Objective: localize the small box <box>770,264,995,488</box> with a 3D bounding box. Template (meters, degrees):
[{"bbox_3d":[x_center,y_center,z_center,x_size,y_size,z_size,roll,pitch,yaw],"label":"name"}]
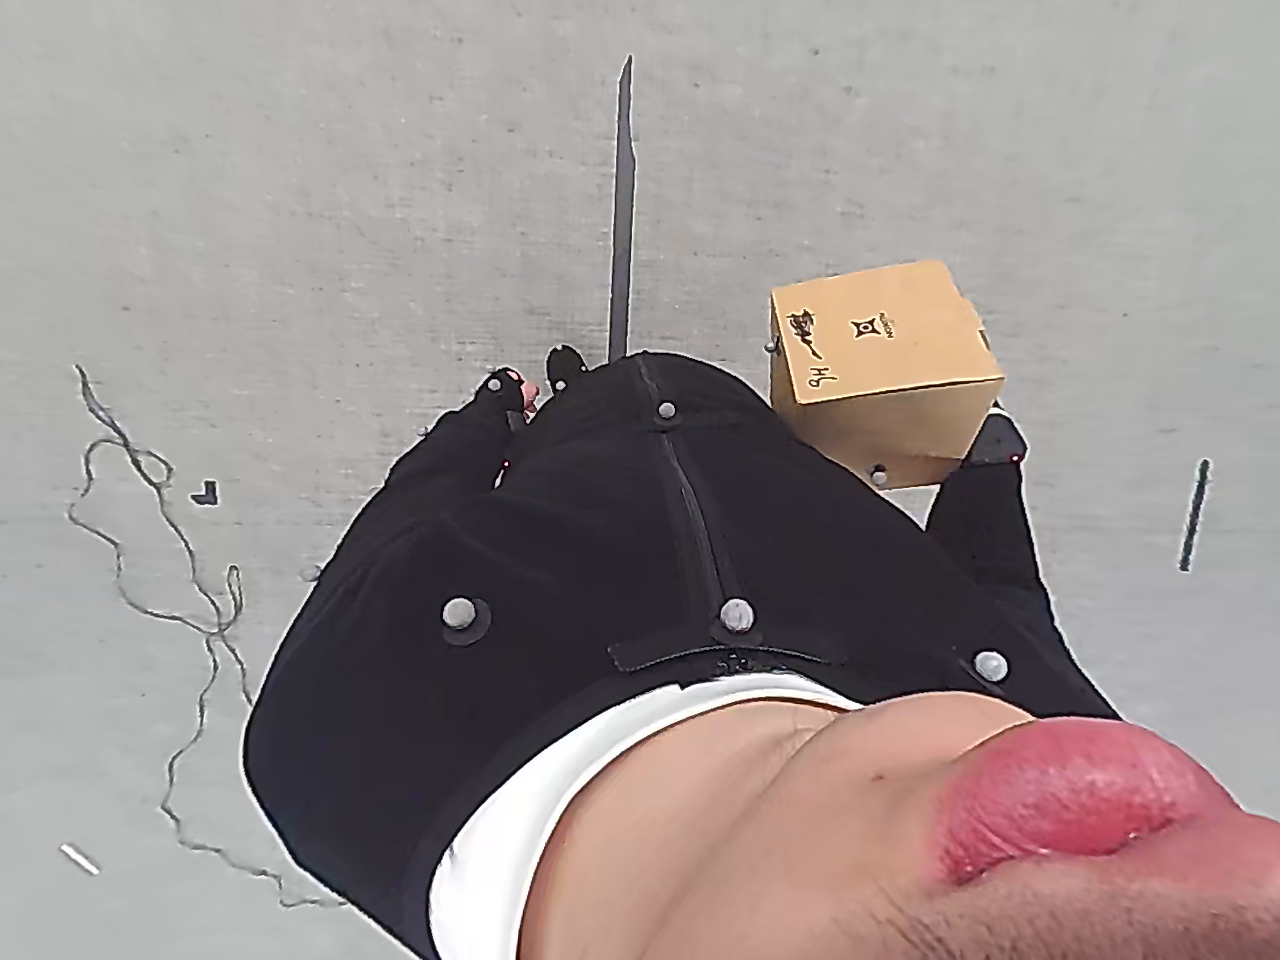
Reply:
[{"bbox_3d":[0.245,-0.106,0.600,0.179,0.168,0.176,-6,145,8],"label":"small box"}]
